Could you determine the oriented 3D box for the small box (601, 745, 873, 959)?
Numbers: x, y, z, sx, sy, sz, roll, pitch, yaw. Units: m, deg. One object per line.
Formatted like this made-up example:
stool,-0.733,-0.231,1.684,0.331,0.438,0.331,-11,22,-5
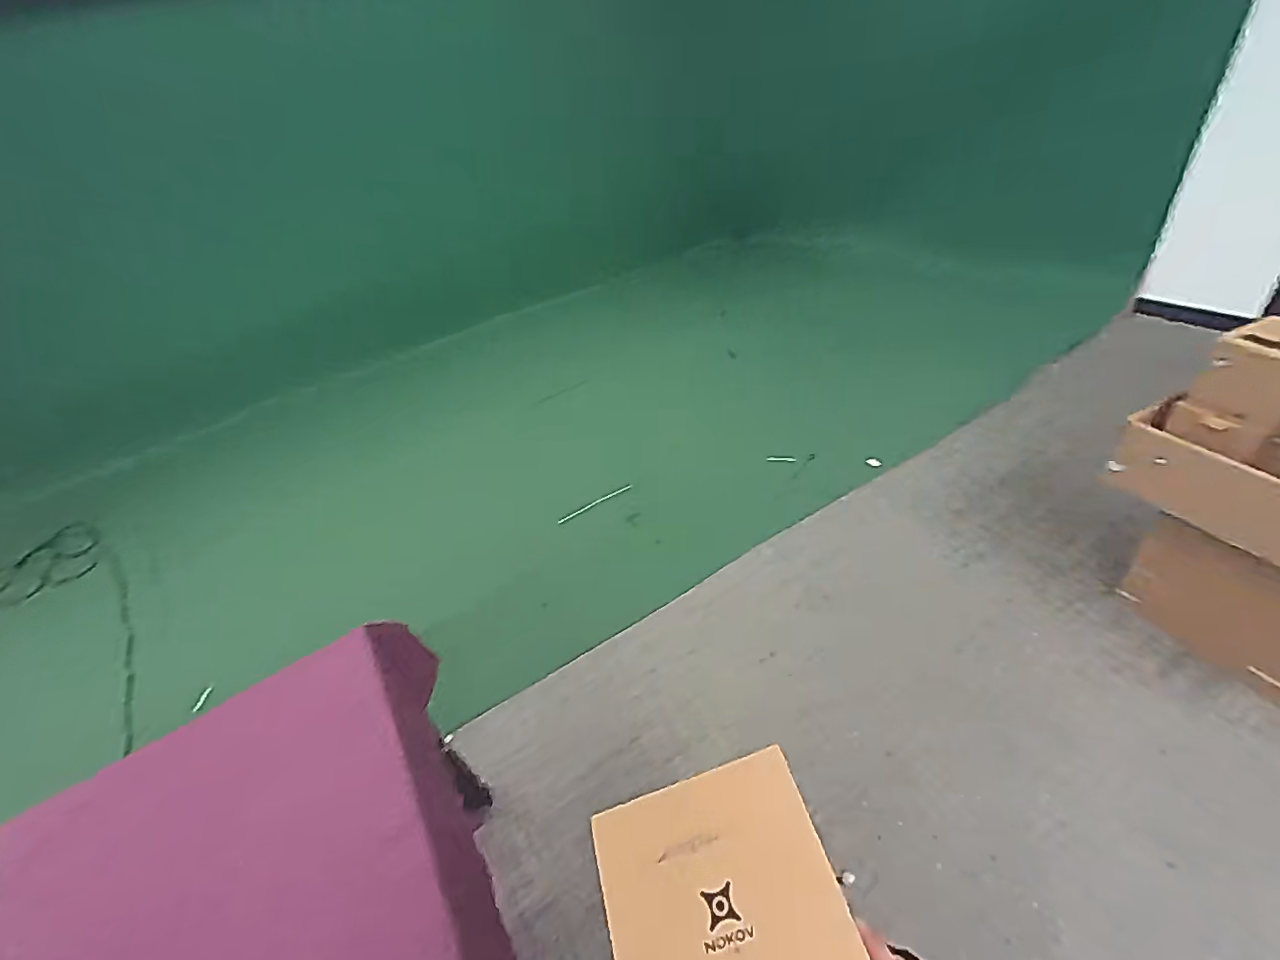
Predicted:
small box,0.084,0.348,0.439,0.168,0.176,0.179,-21,47,2
